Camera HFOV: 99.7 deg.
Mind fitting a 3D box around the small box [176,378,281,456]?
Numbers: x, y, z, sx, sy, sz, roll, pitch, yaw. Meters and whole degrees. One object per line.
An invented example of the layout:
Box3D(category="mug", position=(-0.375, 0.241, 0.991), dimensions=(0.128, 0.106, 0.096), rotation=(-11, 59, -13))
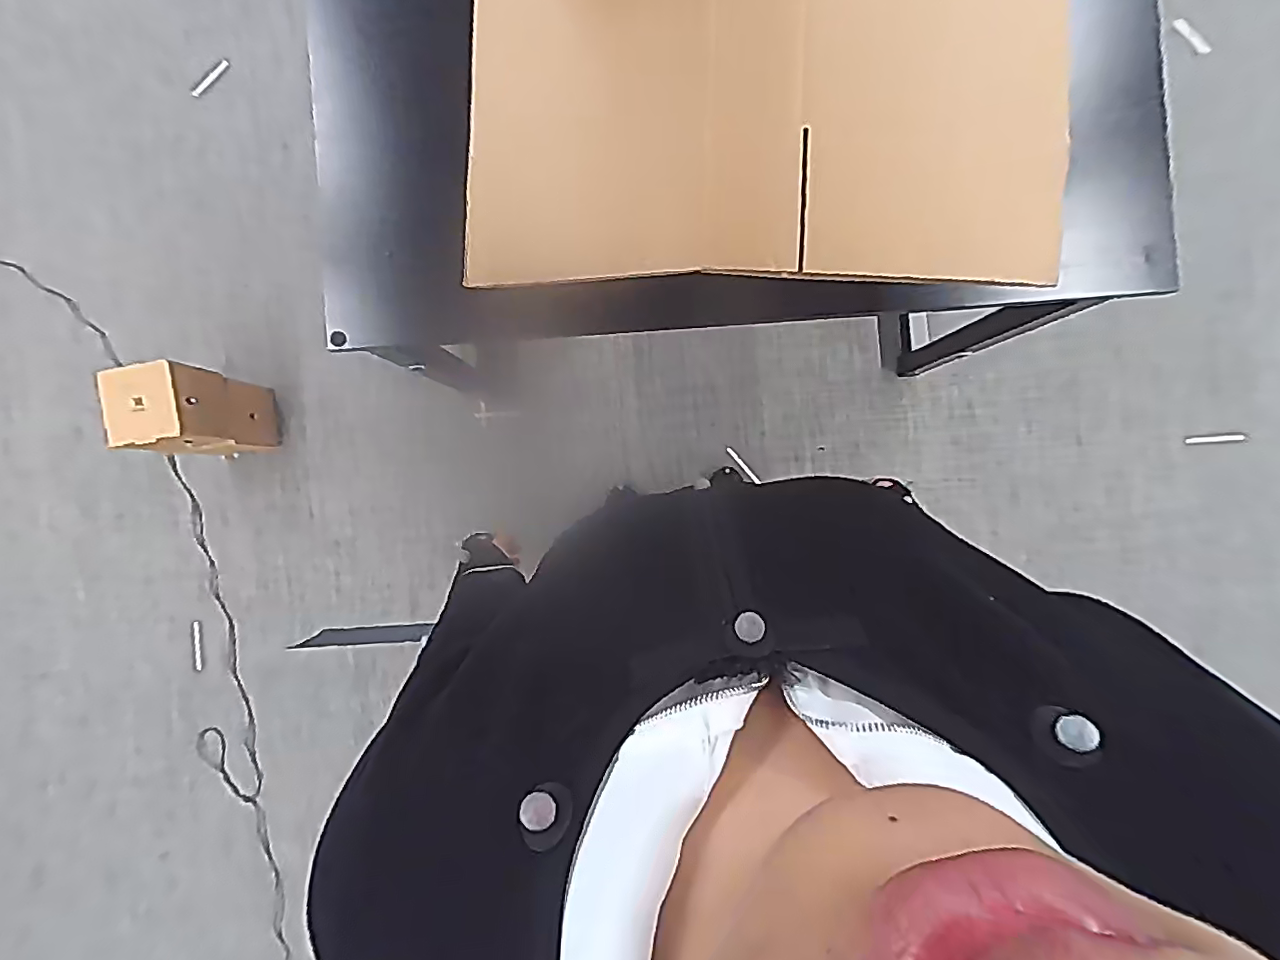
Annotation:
Box3D(category="small box", position=(-1.105, -0.164, 1.448), dimensions=(0.168, 0.176, 0.179), rotation=(-8, 91, 2))

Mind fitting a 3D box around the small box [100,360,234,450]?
Box3D(category="small box", position=(-1.111, -0.169, 1.286), dimensions=(0.168, 0.176, 0.179), rotation=(-11, 89, 1))
